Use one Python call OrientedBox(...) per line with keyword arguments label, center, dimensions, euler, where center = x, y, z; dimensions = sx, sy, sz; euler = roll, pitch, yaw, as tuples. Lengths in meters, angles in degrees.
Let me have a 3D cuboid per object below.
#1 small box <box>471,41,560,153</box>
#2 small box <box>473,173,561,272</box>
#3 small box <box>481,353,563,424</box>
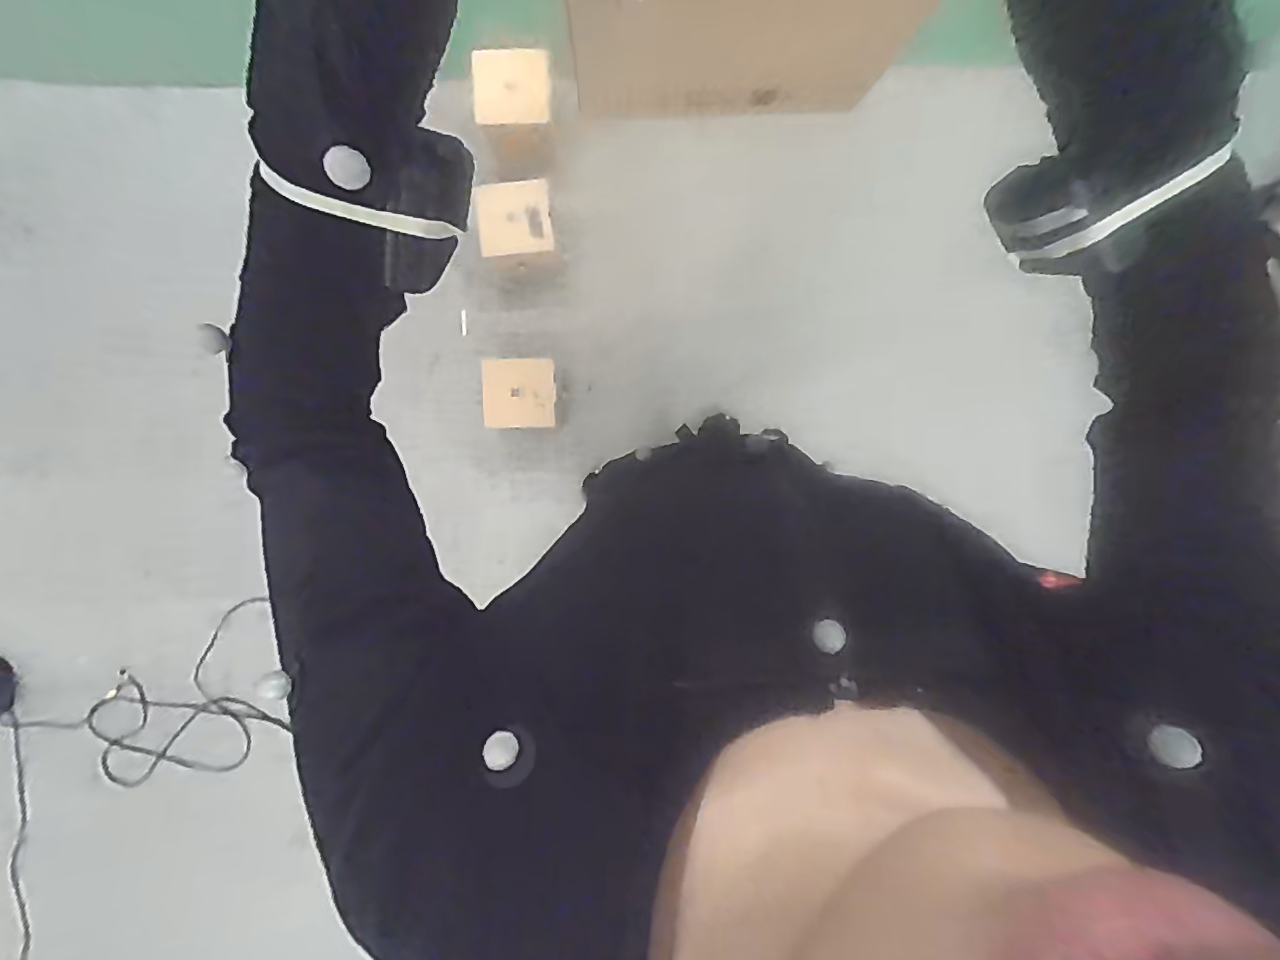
OrientedBox(label="small box", center=(-0.297, -0.920, 1.313), dimensions=(0.179, 0.176, 0.168), euler=(-2, 95, -1))
OrientedBox(label="small box", center=(-0.294, -0.628, 1.335), dimensions=(0.179, 0.176, 0.168), euler=(-6, 94, 0))
OrientedBox(label="small box", center=(-0.292, -0.226, 1.364), dimensions=(0.179, 0.176, 0.168), euler=(-1, 95, -2))
